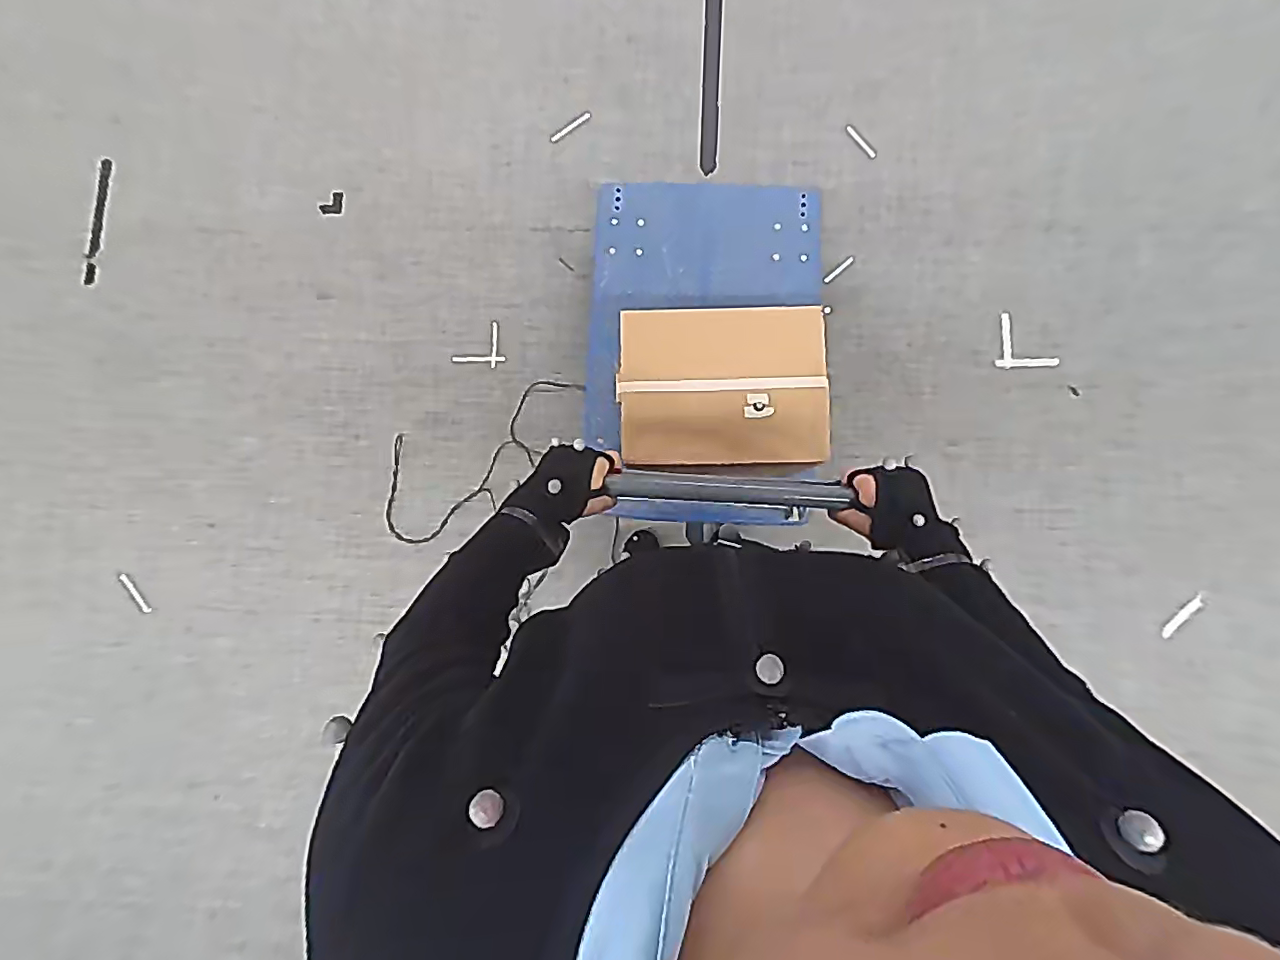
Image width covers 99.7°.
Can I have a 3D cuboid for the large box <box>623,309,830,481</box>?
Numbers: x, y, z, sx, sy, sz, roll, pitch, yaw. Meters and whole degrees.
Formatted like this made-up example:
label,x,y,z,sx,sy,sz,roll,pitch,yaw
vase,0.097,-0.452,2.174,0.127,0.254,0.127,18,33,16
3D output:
label,x,y,z,sx,sy,sz,roll,pitch,yaw
large box,0.170,-0.169,1.217,0.408,0.320,0.320,-1,86,1
